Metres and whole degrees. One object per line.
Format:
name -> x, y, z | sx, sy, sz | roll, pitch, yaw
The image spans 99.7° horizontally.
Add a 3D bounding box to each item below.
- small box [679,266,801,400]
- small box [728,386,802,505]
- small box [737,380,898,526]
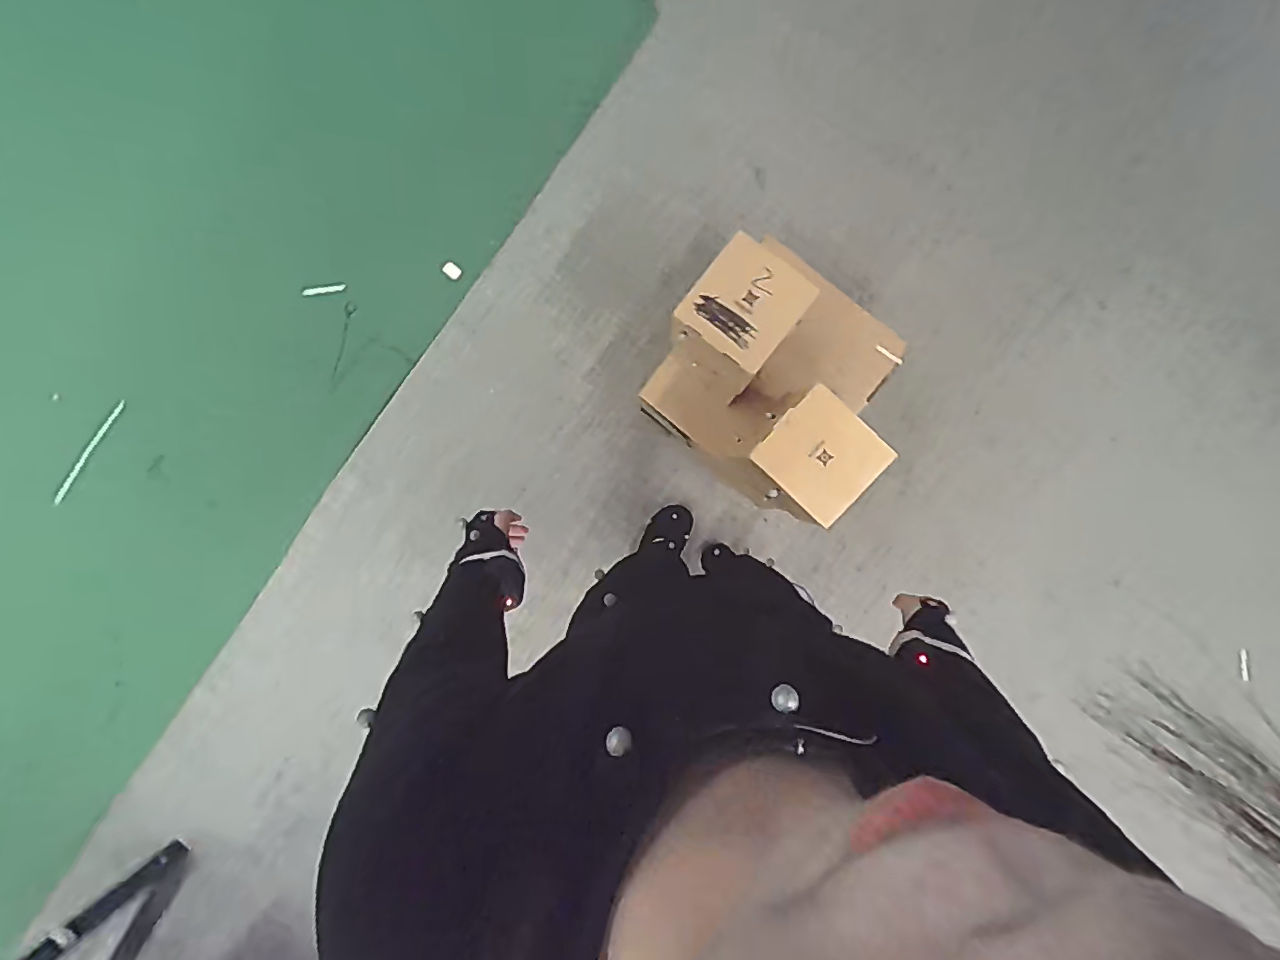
small box -> 0.189, -0.286, 1.095 | 0.168, 0.176, 0.179 | 43, 91, 2
small box -> 0.294, -0.060, 1.092 | 0.168, 0.176, 0.179 | 43, 91, 0
small box -> 0.291, -0.046, 0.929 | 0.179, 0.176, 0.168 | 44, 92, 0
